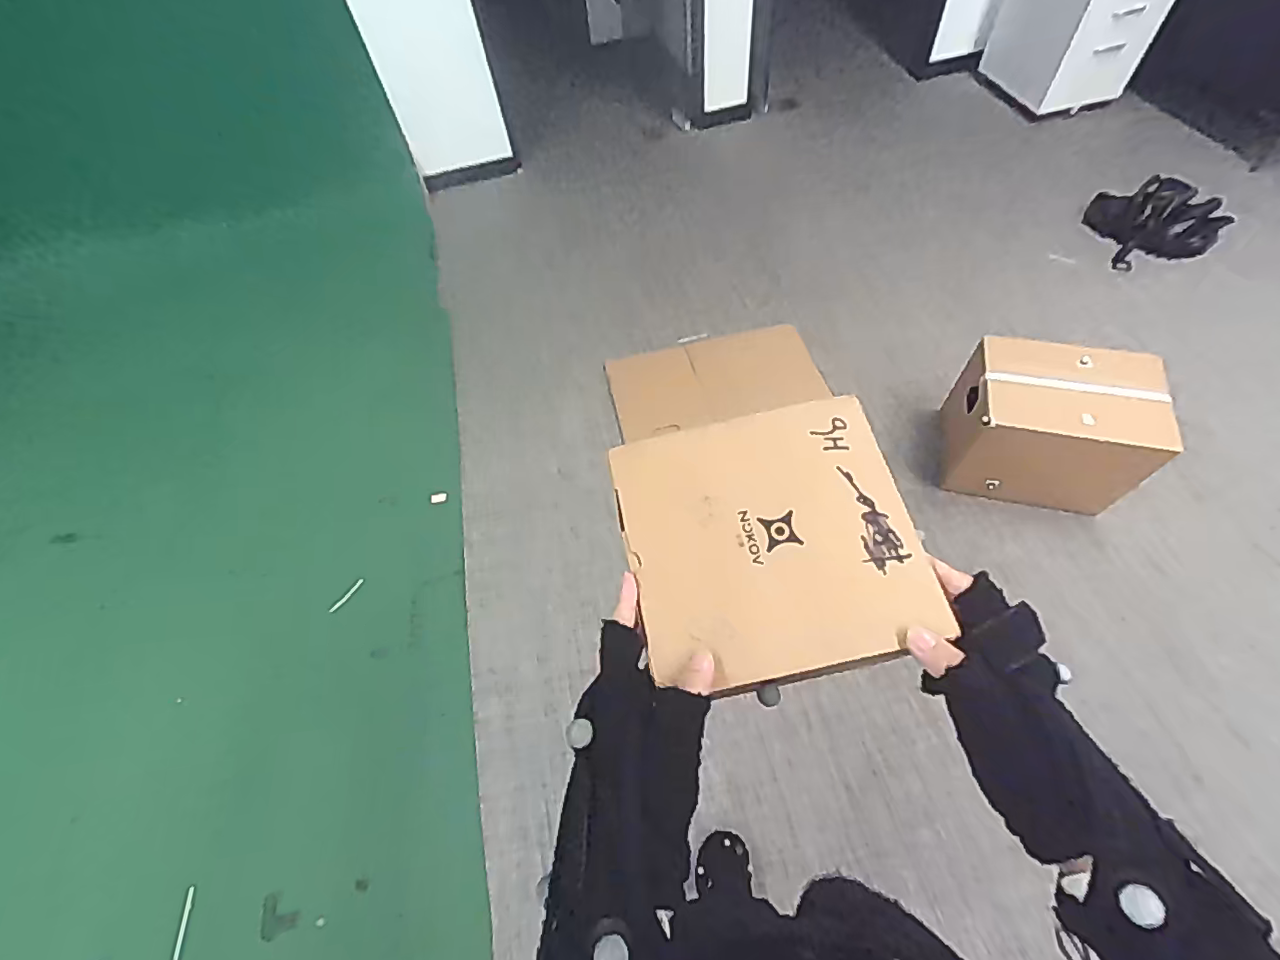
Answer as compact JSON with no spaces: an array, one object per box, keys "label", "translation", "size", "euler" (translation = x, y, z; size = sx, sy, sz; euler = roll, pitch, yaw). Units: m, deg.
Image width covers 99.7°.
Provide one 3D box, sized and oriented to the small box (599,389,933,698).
[{"label":"small box","translation":[0.080,0.061,0.421],"size":[0.179,0.176,0.168],"euler":[-15,63,-1]}]
